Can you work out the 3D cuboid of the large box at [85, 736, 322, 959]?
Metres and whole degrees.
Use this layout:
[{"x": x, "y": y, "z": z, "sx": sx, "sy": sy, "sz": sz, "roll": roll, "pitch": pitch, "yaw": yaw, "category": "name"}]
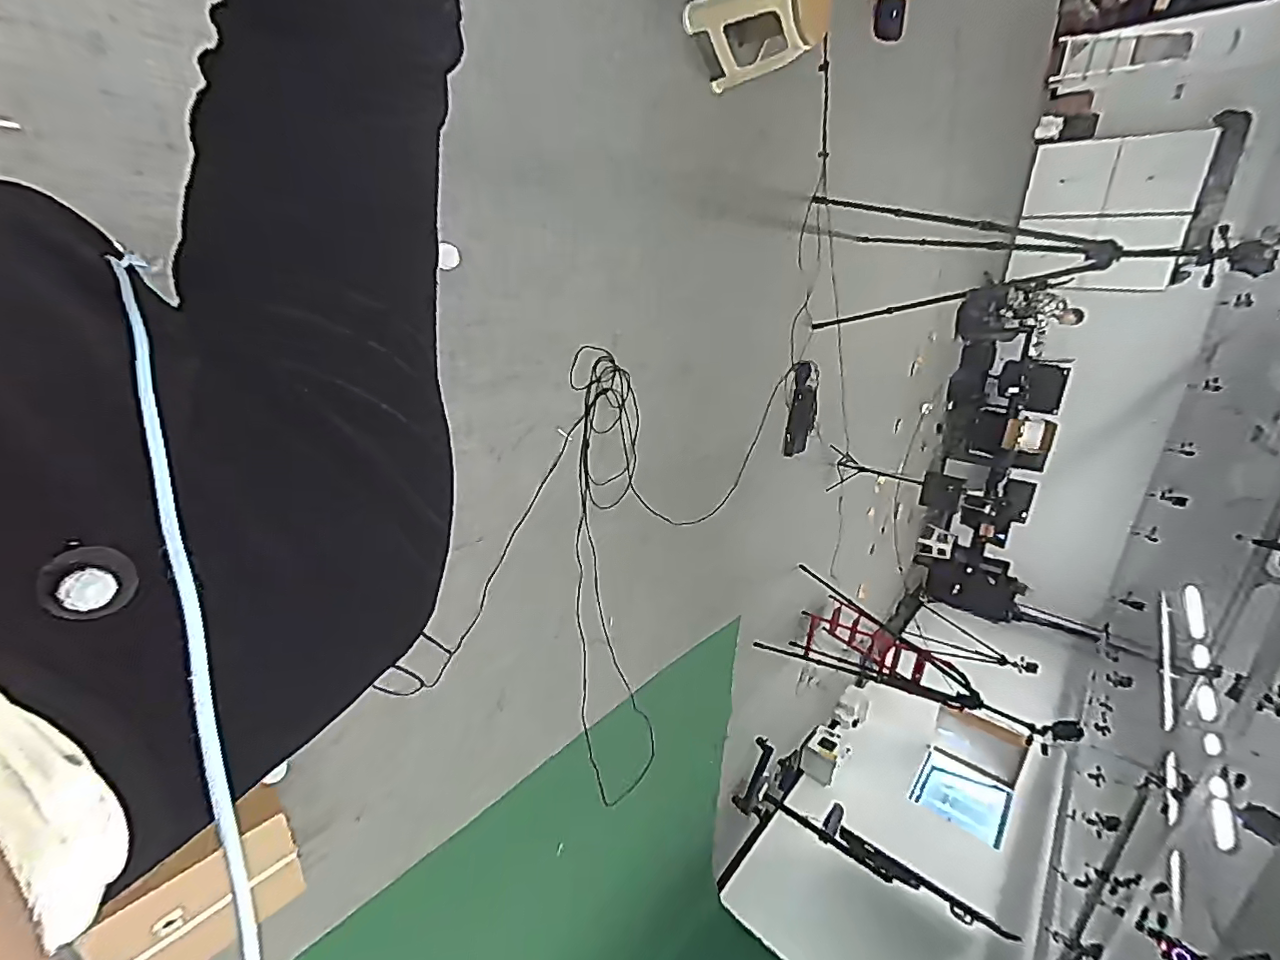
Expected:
[{"x": -1.158, "y": 0.997, "z": 1.458, "sx": 0.408, "sy": 0.320, "sz": 0.320, "roll": -22, "pitch": 120, "yaw": -43, "category": "large box"}]
